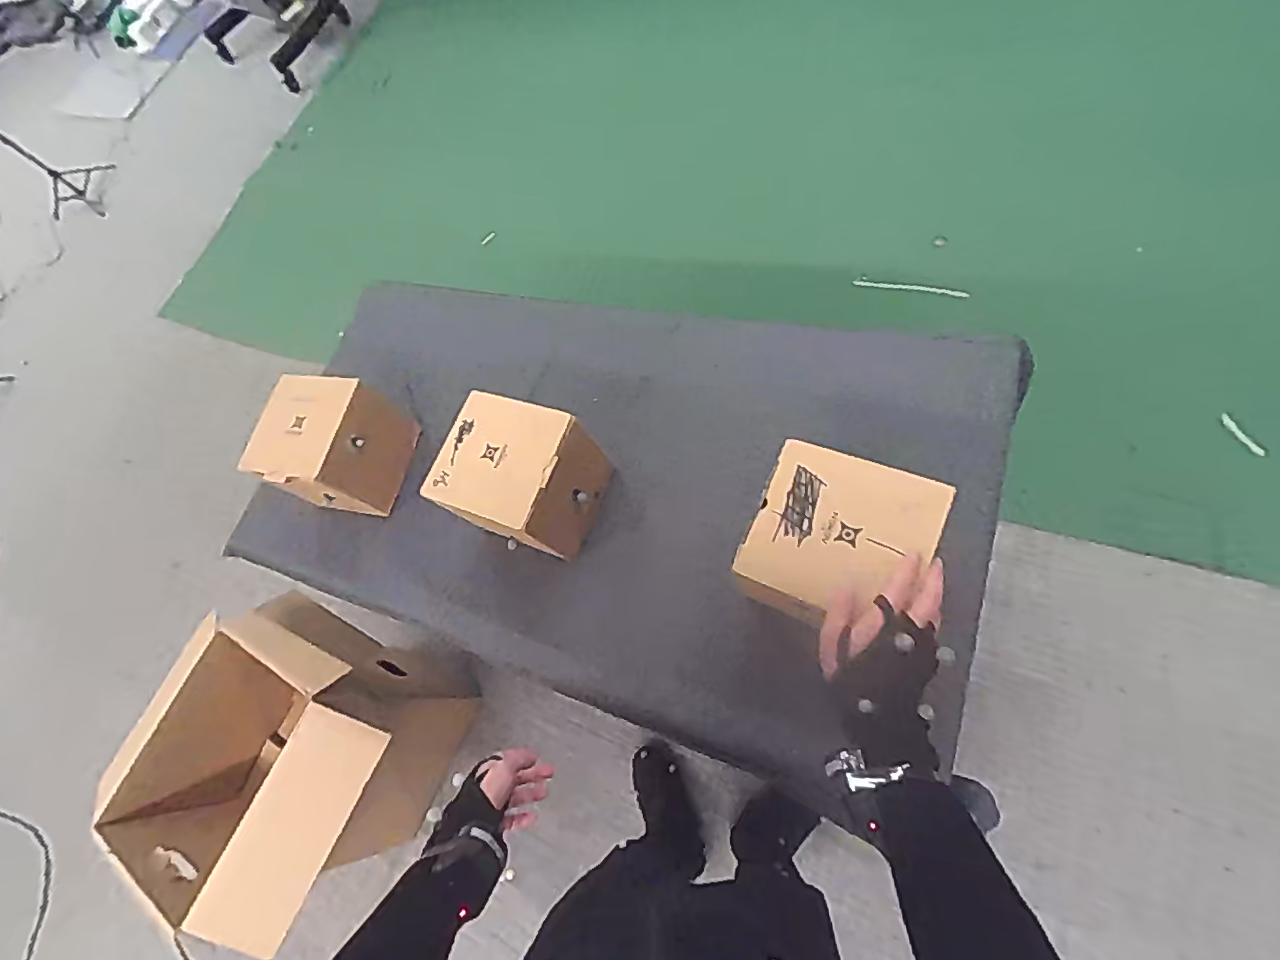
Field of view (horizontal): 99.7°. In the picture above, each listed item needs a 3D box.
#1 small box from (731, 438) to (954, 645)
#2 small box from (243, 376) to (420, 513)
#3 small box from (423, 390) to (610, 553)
[{"bbox_3d":[0.226,0.078,0.624,0.179,0.176,0.168,21,77,23],"label":"small box"},{"bbox_3d":[-0.507,-0.056,0.917,0.168,0.176,0.179,6,69,18],"label":"small box"},{"bbox_3d":[-0.166,-0.004,0.785,0.179,0.176,0.168,17,75,22],"label":"small box"}]
